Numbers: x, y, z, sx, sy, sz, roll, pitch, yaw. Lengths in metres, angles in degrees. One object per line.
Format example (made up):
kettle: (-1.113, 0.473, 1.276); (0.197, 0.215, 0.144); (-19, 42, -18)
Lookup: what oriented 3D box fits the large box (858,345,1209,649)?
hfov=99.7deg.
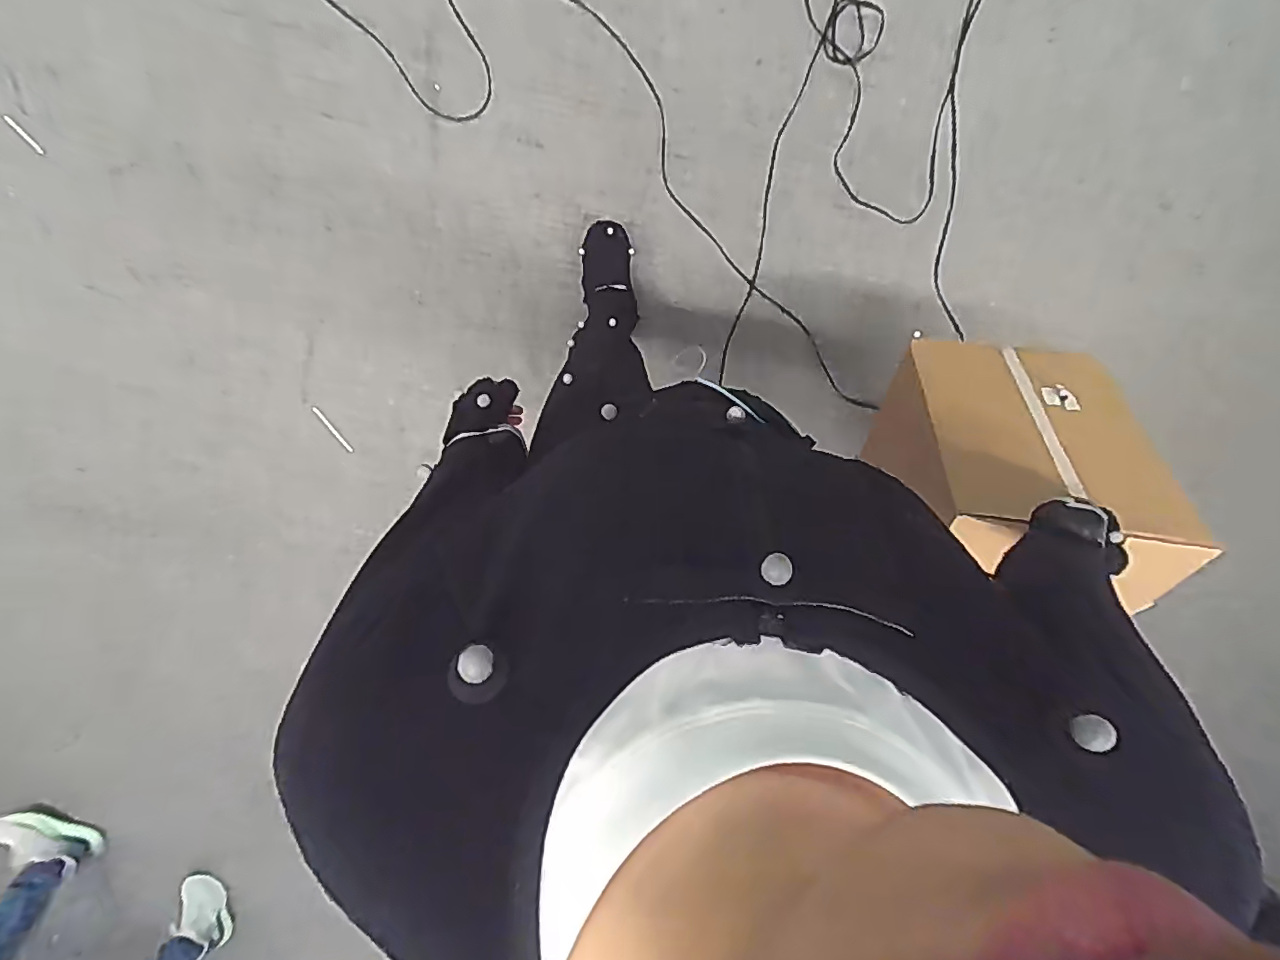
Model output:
large box: (0.588, 0.022, 0.924); (0.320, 0.408, 0.320); (8, 137, 6)
